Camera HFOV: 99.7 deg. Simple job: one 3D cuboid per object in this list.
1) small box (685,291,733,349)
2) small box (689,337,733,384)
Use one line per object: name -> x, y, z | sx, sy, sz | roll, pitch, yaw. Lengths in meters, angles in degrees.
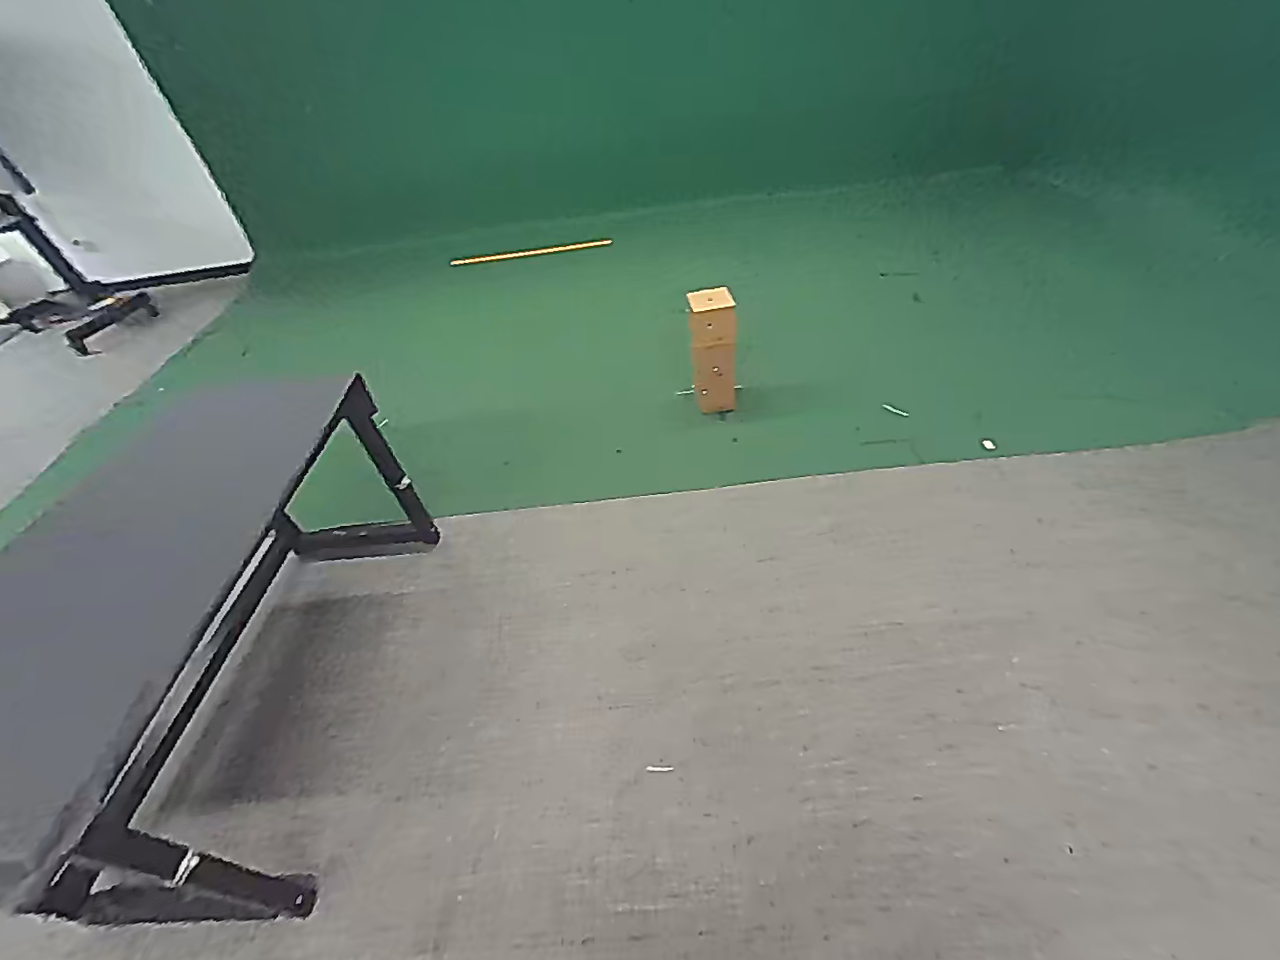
small box -> 0.288, -0.655, 2.236 | 0.168, 0.176, 0.179 | -10, 42, 0
small box -> 0.307, -0.540, 2.349 | 0.168, 0.176, 0.179 | -9, 43, 2
